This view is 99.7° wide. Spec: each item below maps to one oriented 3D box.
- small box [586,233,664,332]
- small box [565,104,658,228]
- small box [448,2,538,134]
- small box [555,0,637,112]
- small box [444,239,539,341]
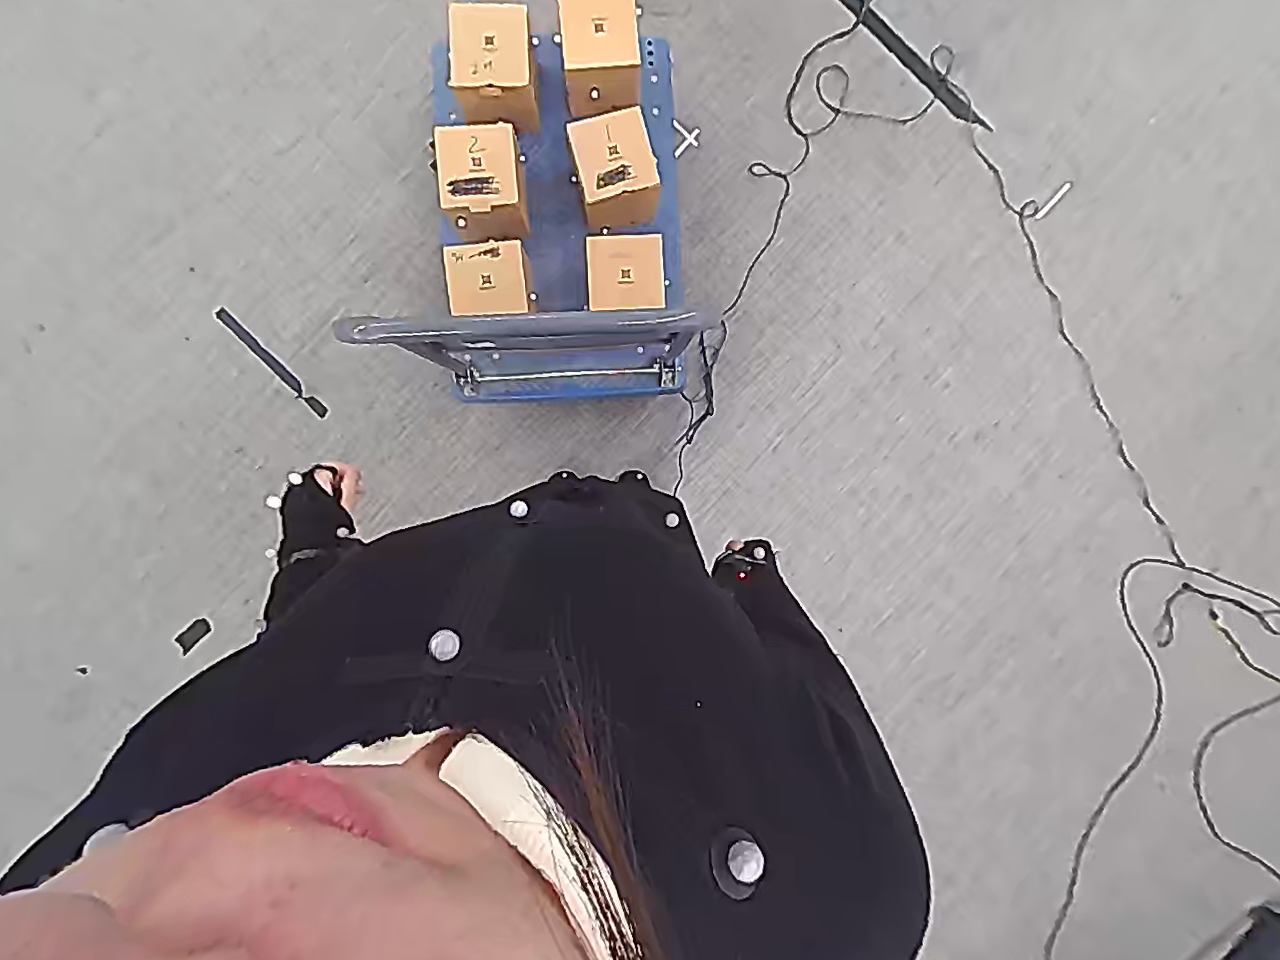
[{"bbox_3d":[-0.033,-0.446,1.245,0.168,0.176,0.179,-3,91,-3],"label":"small box"},{"bbox_3d":[-0.062,-0.702,1.237,0.168,0.176,0.179,-16,90,-2],"label":"small box"},{"bbox_3d":[-0.325,-0.921,1.220,0.168,0.176,0.179,-2,92,-2],"label":"small box"},{"bbox_3d":[-0.095,-0.973,1.231,0.168,0.176,0.179,-6,91,-2],"label":"small box"},{"bbox_3d":[-0.331,-0.422,1.231,0.168,0.176,0.179,-7,92,-3],"label":"small box"}]
